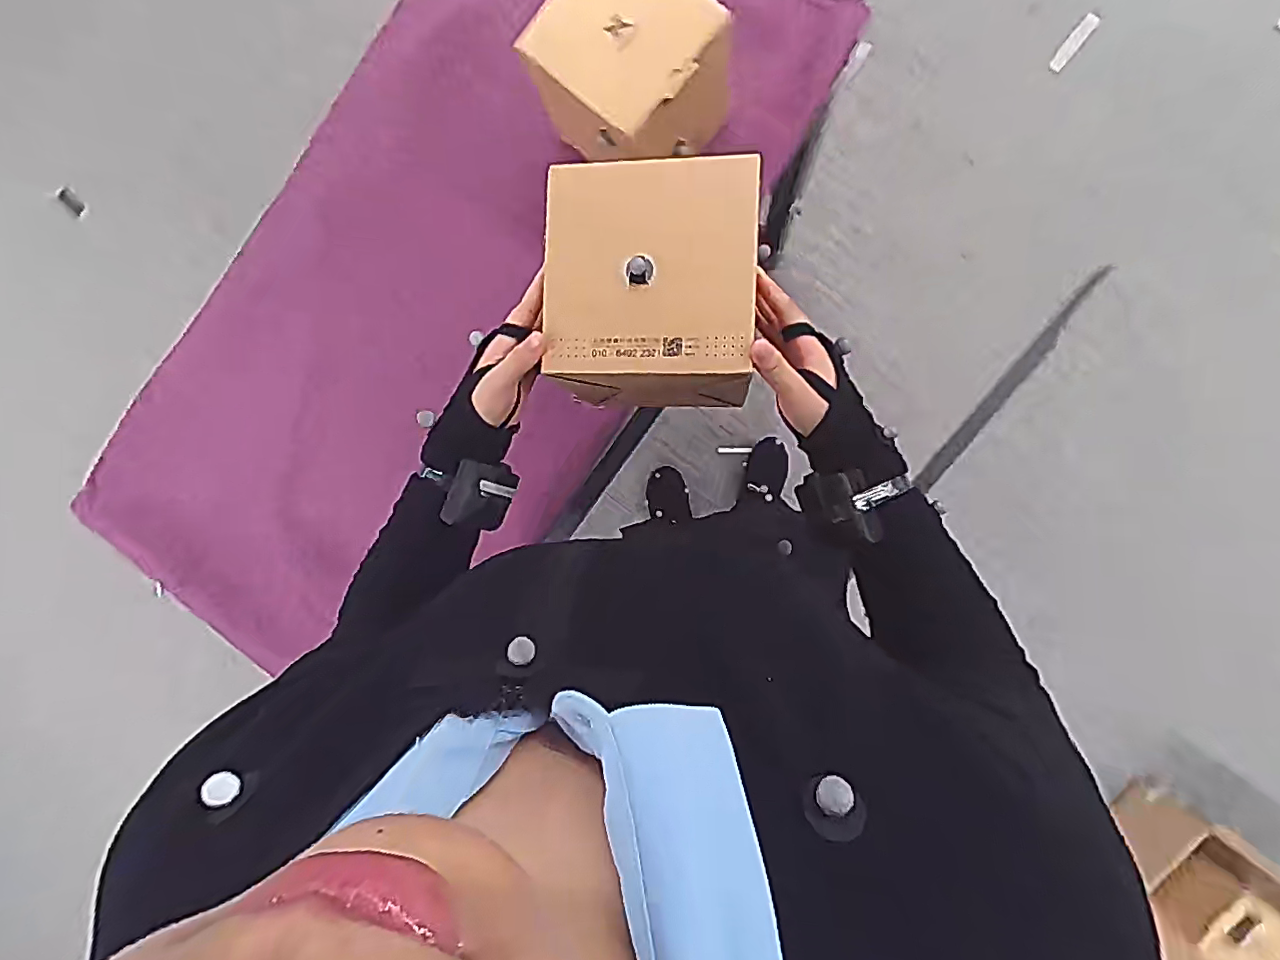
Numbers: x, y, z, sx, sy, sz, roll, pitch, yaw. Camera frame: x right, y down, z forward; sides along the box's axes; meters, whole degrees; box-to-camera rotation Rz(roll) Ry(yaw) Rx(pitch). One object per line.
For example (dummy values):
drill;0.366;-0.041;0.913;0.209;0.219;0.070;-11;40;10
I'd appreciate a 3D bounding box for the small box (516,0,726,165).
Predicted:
small box;-0.014;-0.488;0.666;0.179;0.176;0.168;42;97;5

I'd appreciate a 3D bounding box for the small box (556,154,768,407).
small box;0.026;-0.160;0.493;0.168;0.179;0.176;4;91;9
